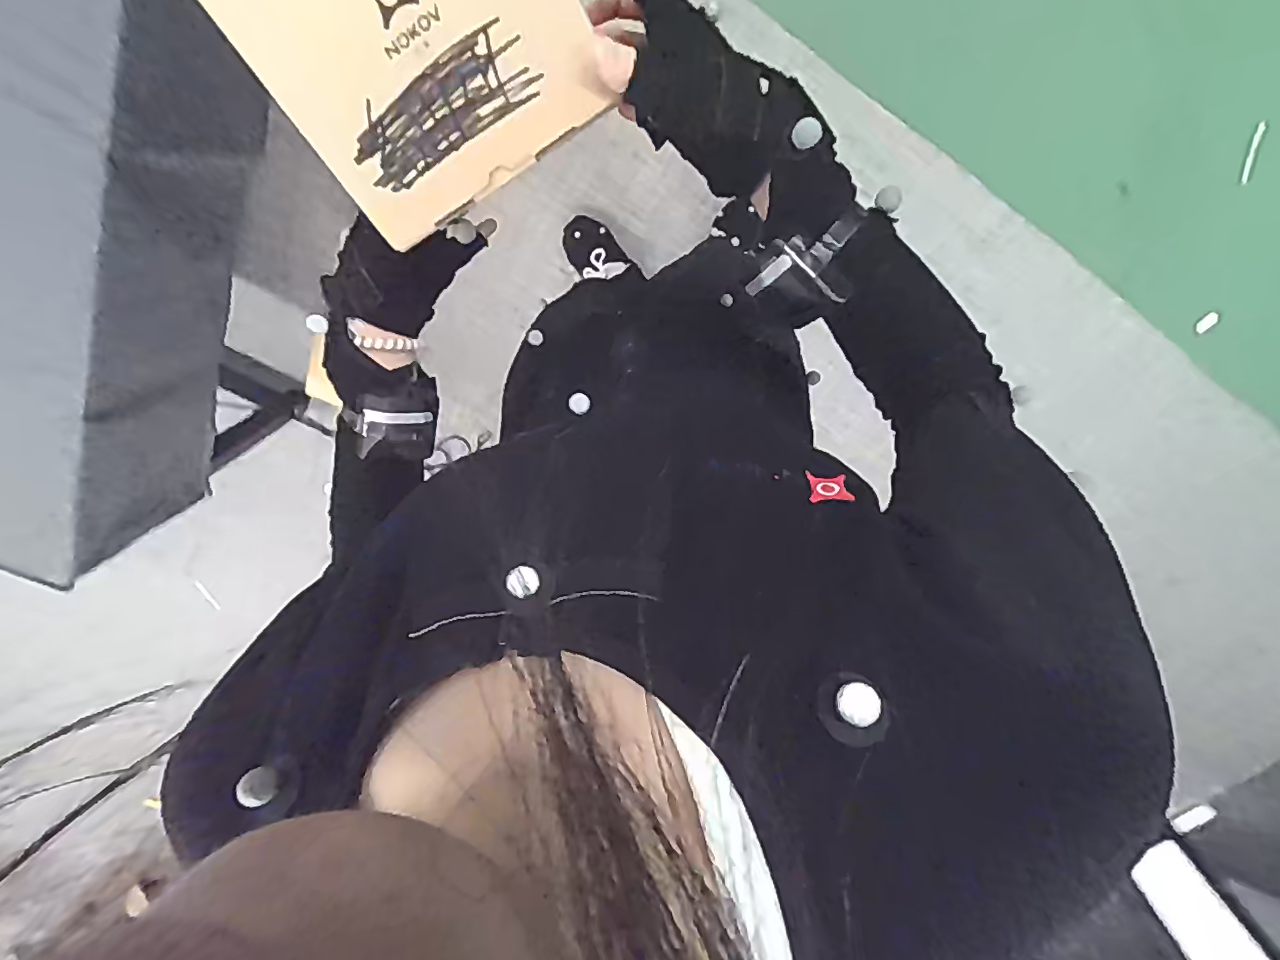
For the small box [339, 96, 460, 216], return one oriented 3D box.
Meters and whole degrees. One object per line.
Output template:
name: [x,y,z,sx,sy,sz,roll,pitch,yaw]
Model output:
small box: [-0.501,-0.673,1.139,0.179,0.176,0.168,17,119,-8]
